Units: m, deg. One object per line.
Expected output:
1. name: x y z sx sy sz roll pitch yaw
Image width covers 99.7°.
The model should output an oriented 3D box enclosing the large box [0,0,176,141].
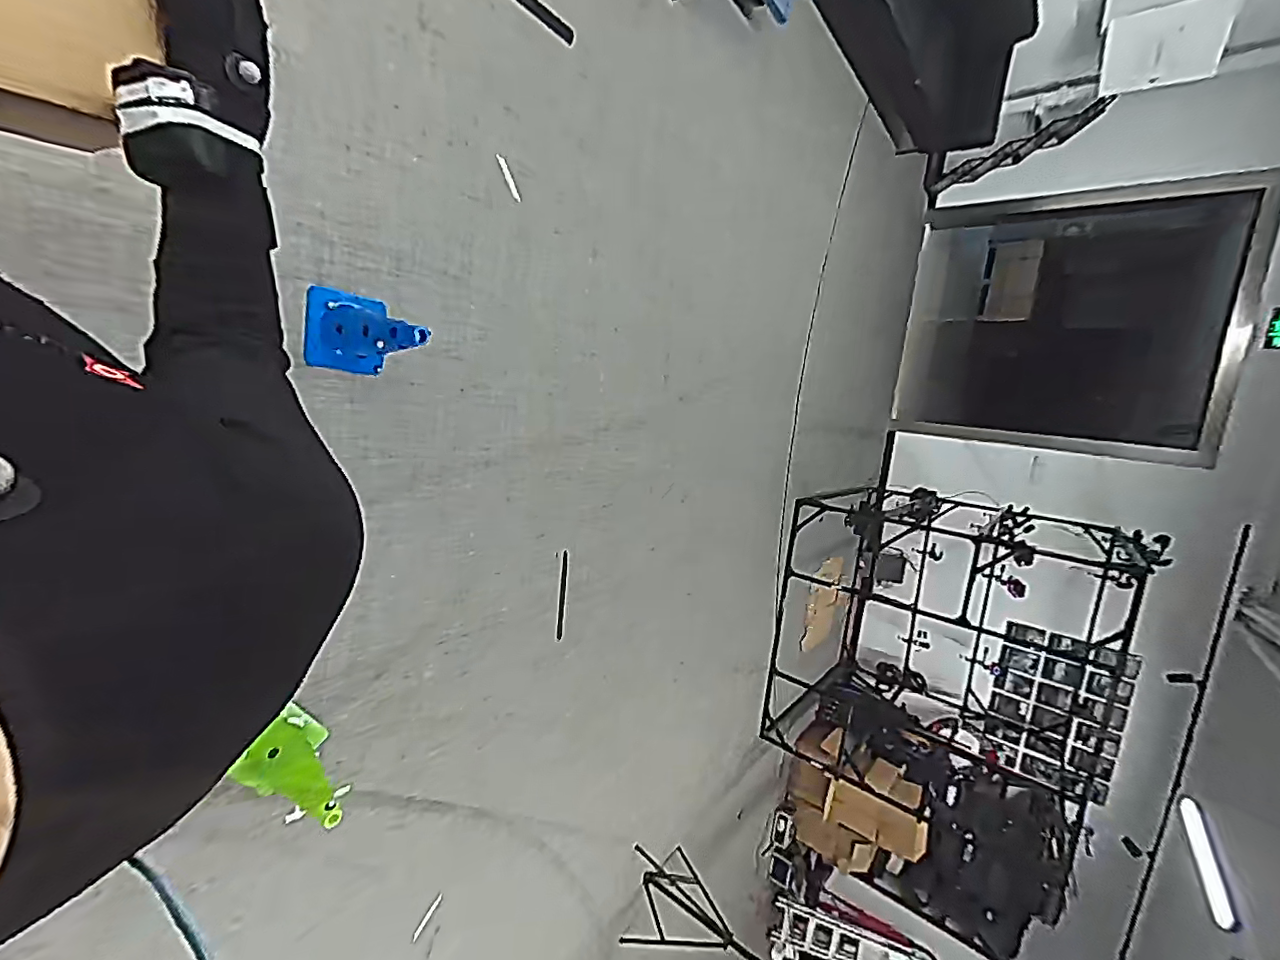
1. large box: -0.557 -0.427 0.287 0.408 0.320 0.320 -11 117 -52

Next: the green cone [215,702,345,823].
1. green cone: -0.848 0.751 1.352 0.202 0.368 0.200 -50 137 -34

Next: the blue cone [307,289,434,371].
1. blue cone: -0.637 -0.360 1.323 0.192 0.380 0.193 1 100 -54
